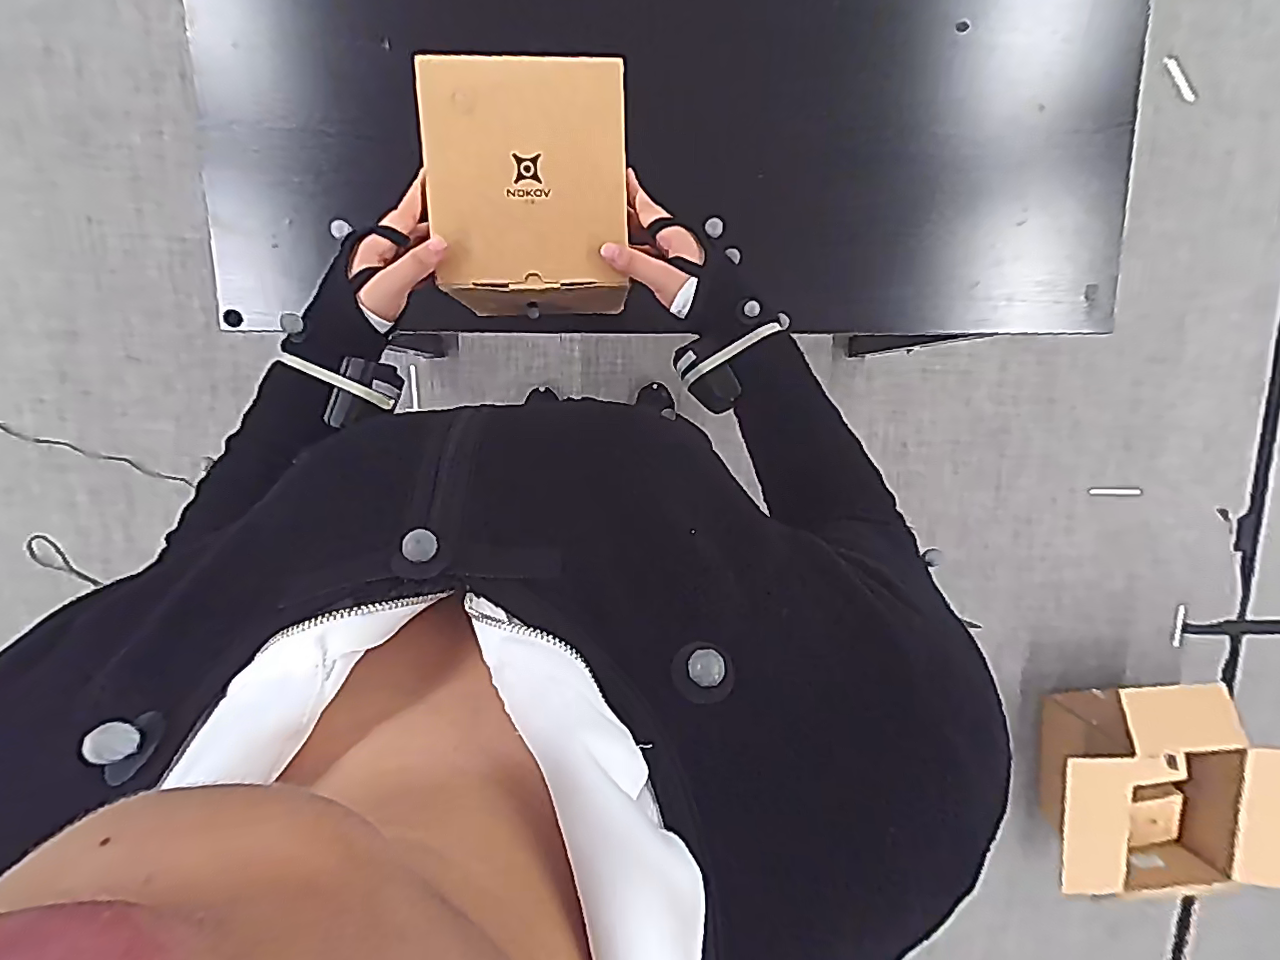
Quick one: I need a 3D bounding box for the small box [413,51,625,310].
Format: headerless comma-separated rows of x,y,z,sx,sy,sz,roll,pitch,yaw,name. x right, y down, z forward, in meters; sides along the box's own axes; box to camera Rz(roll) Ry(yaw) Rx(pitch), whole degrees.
-0.103,-0.267,0.522,0.168,0.176,0.179,-3,100,-4,small box
